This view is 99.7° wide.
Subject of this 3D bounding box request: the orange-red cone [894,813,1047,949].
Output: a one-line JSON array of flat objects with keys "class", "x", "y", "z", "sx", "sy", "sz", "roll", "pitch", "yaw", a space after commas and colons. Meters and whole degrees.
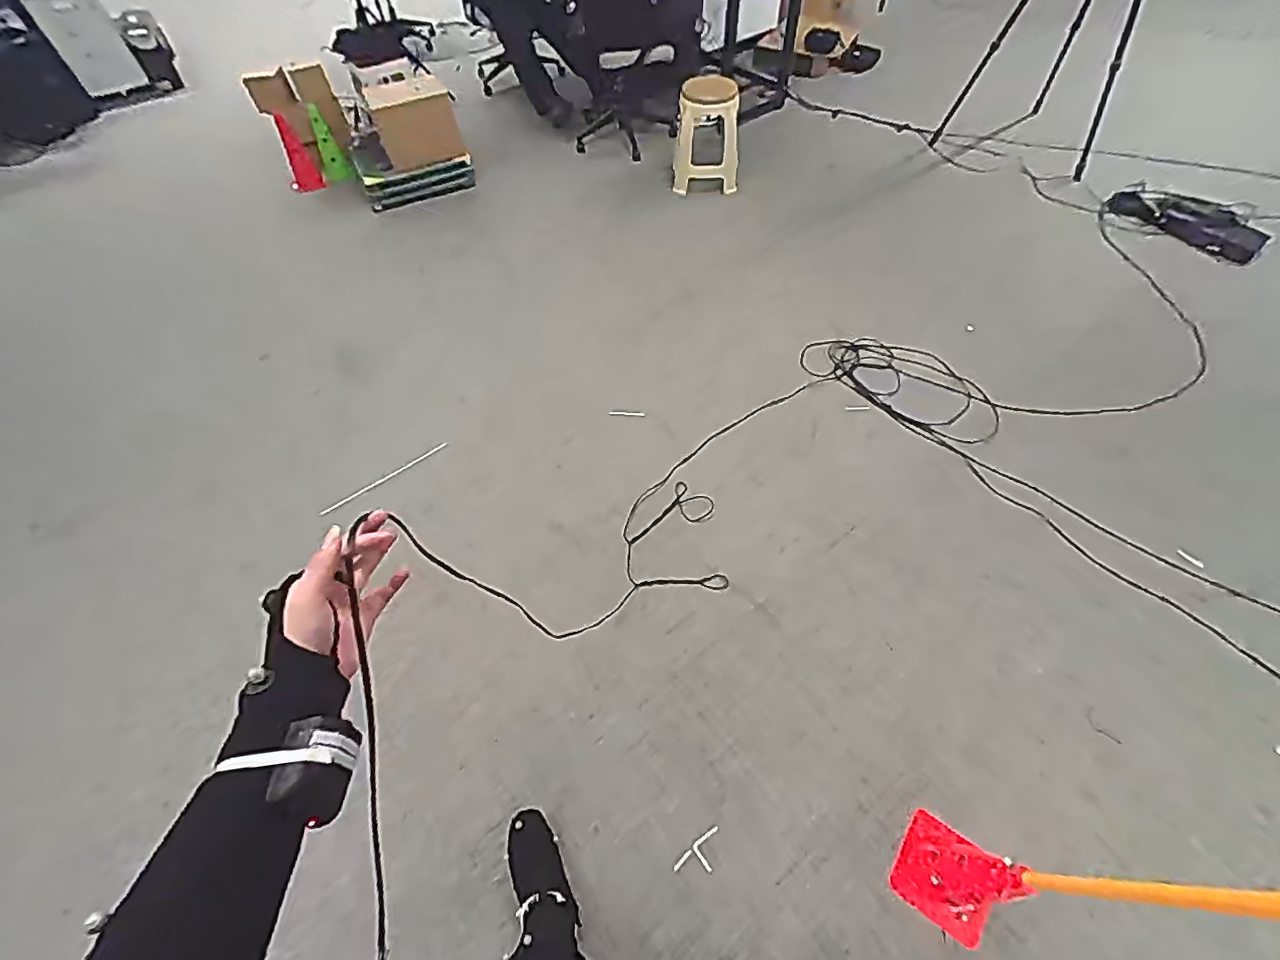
[{"class": "orange-red cone", "x": 0.701, "y": 0.810, "z": 1.098, "sx": 0.198, "sy": 0.360, "sz": 0.199, "roll": 32, "pitch": 61, "yaw": 21}]
